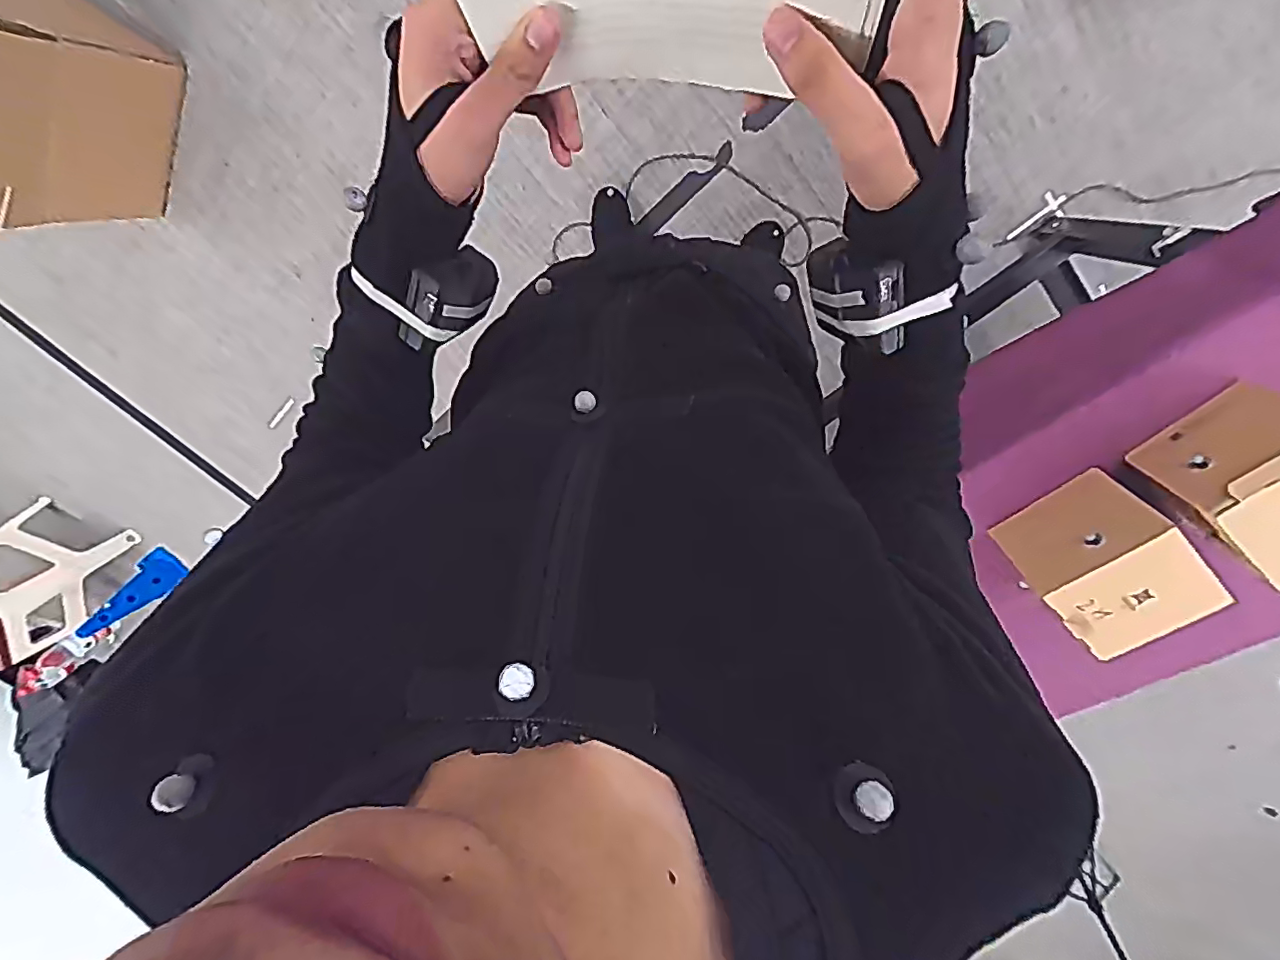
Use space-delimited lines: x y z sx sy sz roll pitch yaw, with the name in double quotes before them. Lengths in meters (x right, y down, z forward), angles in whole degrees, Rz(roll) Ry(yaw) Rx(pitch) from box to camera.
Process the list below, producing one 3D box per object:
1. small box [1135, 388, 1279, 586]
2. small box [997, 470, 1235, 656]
"small box" 0.829 -0.001 0.717 0.179 0.176 0.168 38 118 -14
"small box" 0.683 0.116 0.800 0.168 0.176 0.179 41 117 -15
